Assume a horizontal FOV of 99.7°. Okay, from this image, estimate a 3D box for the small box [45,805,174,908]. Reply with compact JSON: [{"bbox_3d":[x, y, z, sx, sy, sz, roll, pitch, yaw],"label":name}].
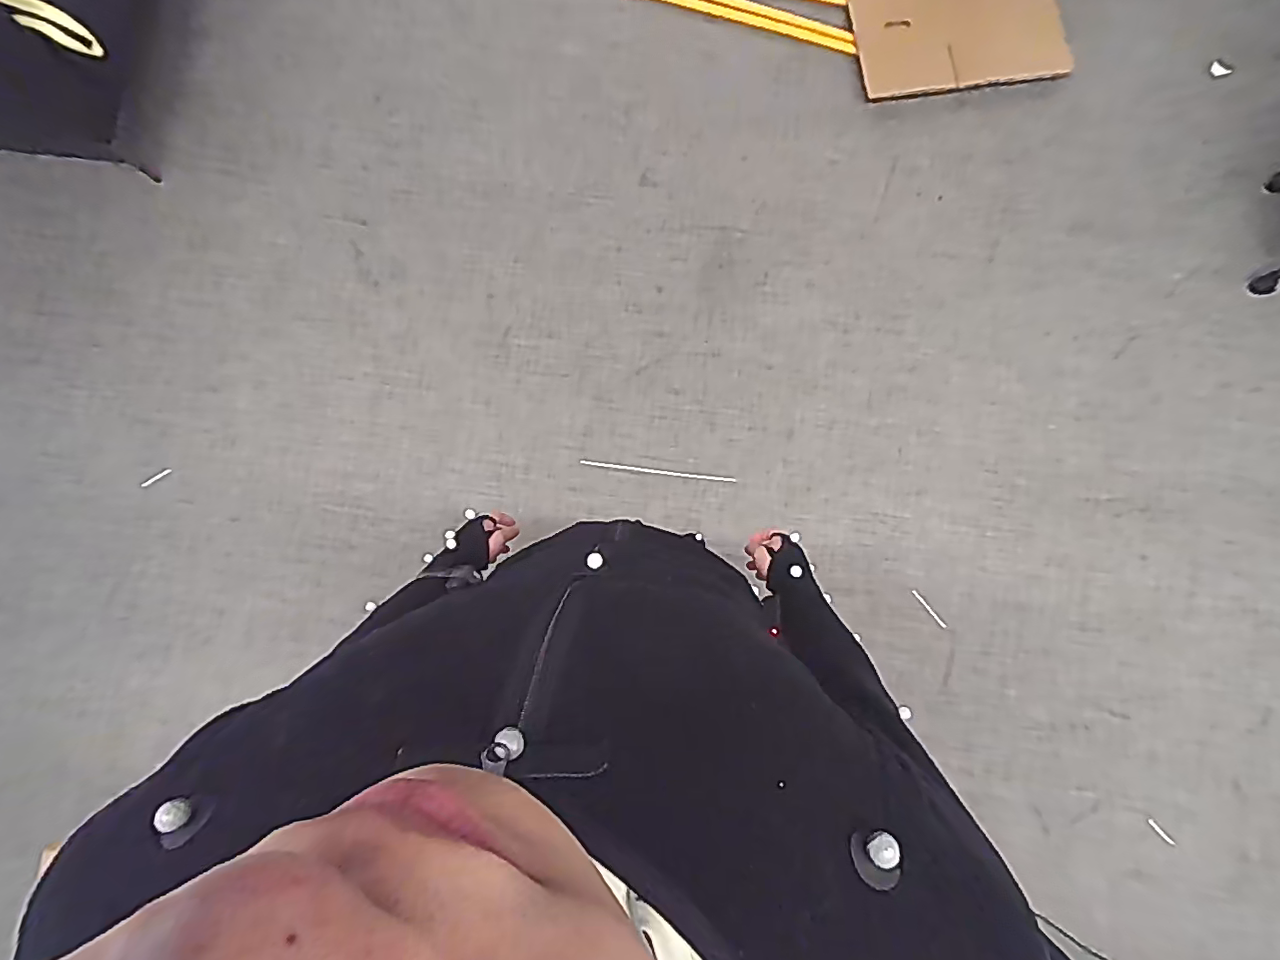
[{"bbox_3d":[-1.474,1.043,1.513,0.179,0.176,0.168,9,85,2],"label":"small box"}]
